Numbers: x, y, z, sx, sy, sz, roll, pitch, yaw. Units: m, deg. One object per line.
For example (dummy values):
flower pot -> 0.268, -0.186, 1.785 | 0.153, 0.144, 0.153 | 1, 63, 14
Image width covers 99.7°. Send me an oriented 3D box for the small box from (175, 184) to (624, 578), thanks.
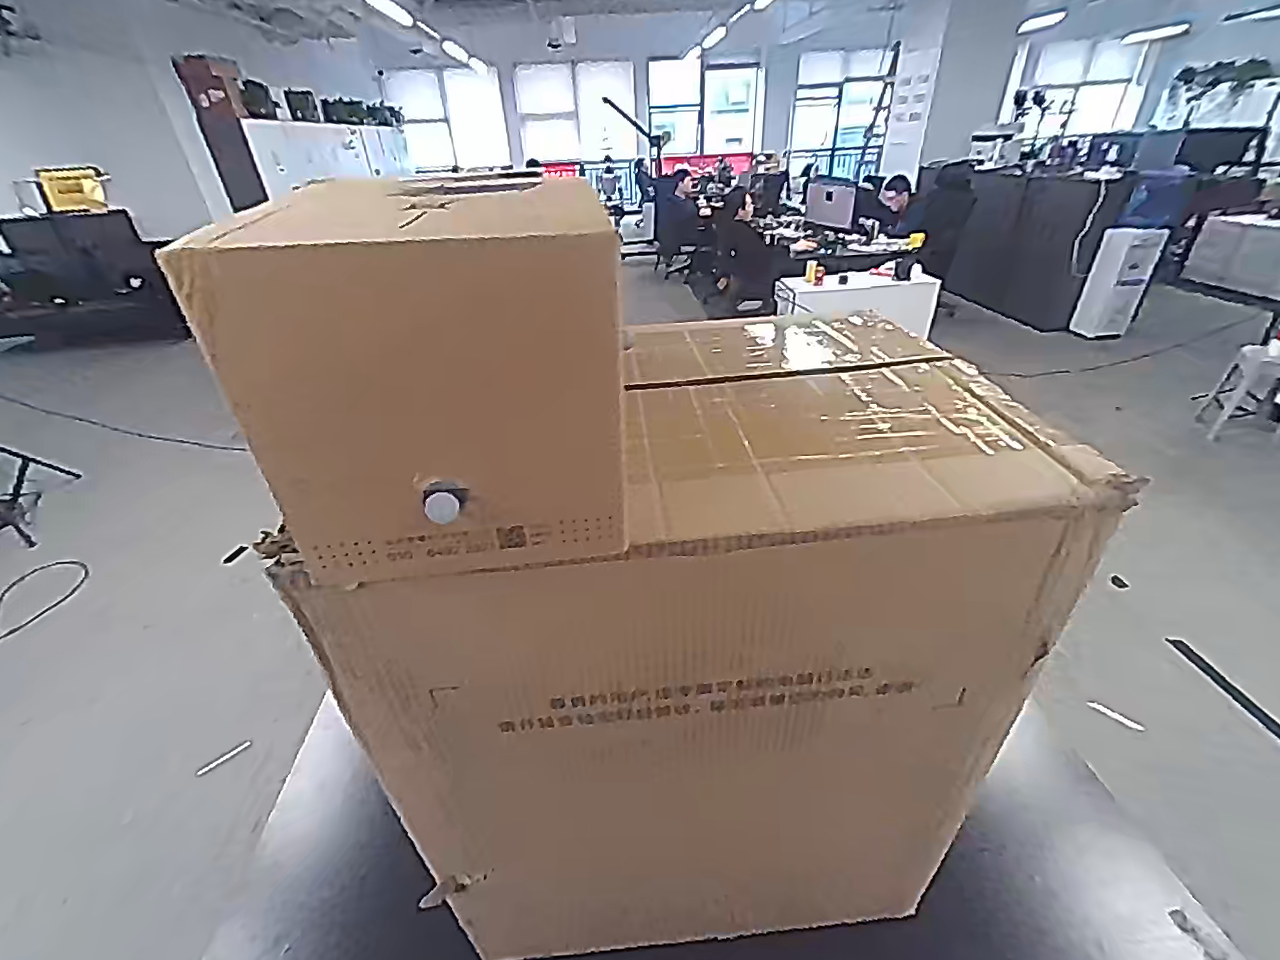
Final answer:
small box -> -0.100, -0.067, 0.316 | 0.168, 0.176, 0.179 | -5, 35, -6
